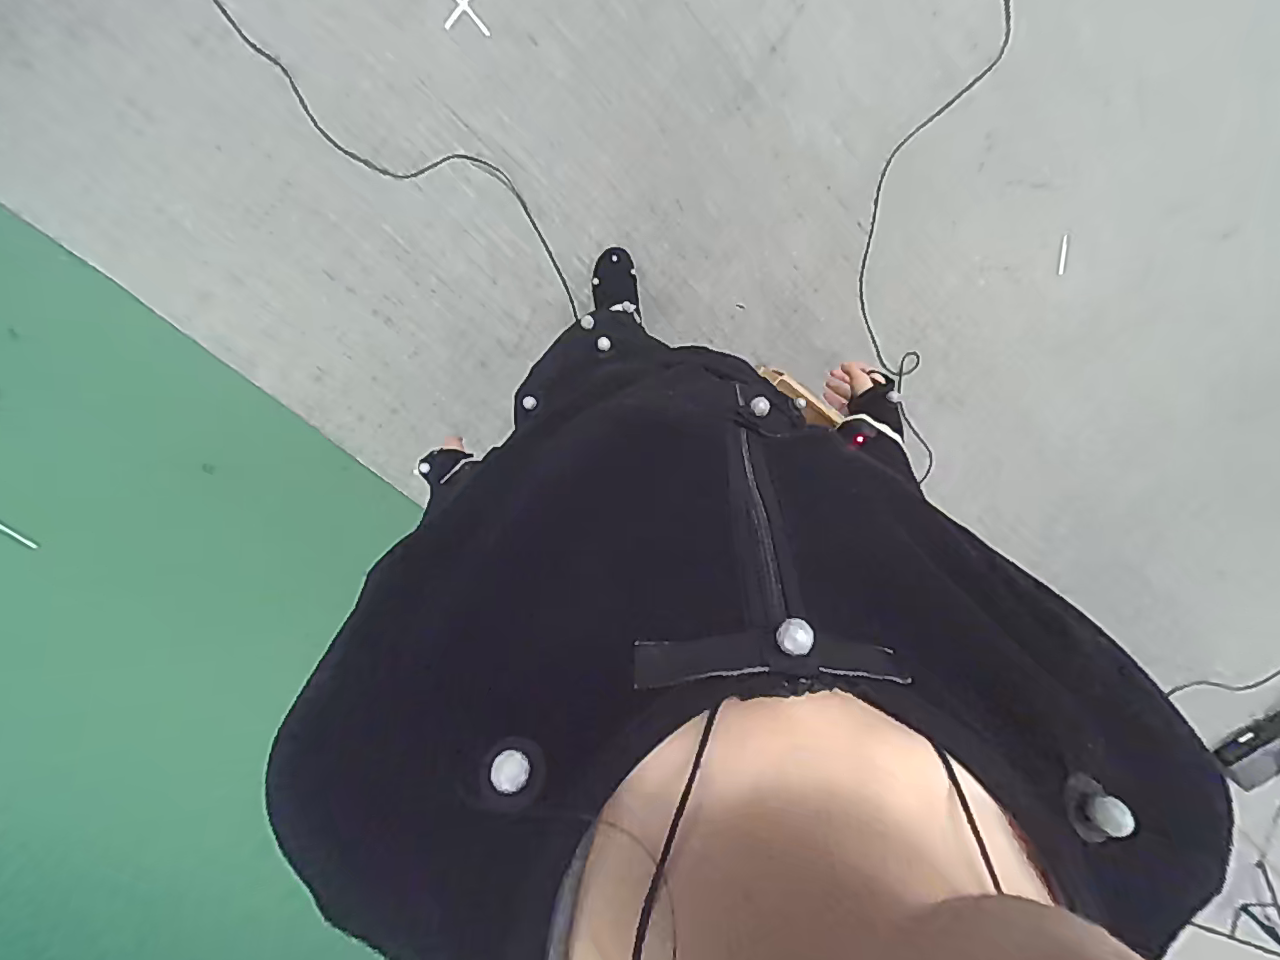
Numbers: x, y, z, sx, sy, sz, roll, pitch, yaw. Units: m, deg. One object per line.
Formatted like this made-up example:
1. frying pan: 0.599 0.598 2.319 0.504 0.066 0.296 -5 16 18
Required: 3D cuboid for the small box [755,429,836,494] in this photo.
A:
1. small box: 0.429 -0.011 1.432 0.168 0.176 0.179 36 105 -14
